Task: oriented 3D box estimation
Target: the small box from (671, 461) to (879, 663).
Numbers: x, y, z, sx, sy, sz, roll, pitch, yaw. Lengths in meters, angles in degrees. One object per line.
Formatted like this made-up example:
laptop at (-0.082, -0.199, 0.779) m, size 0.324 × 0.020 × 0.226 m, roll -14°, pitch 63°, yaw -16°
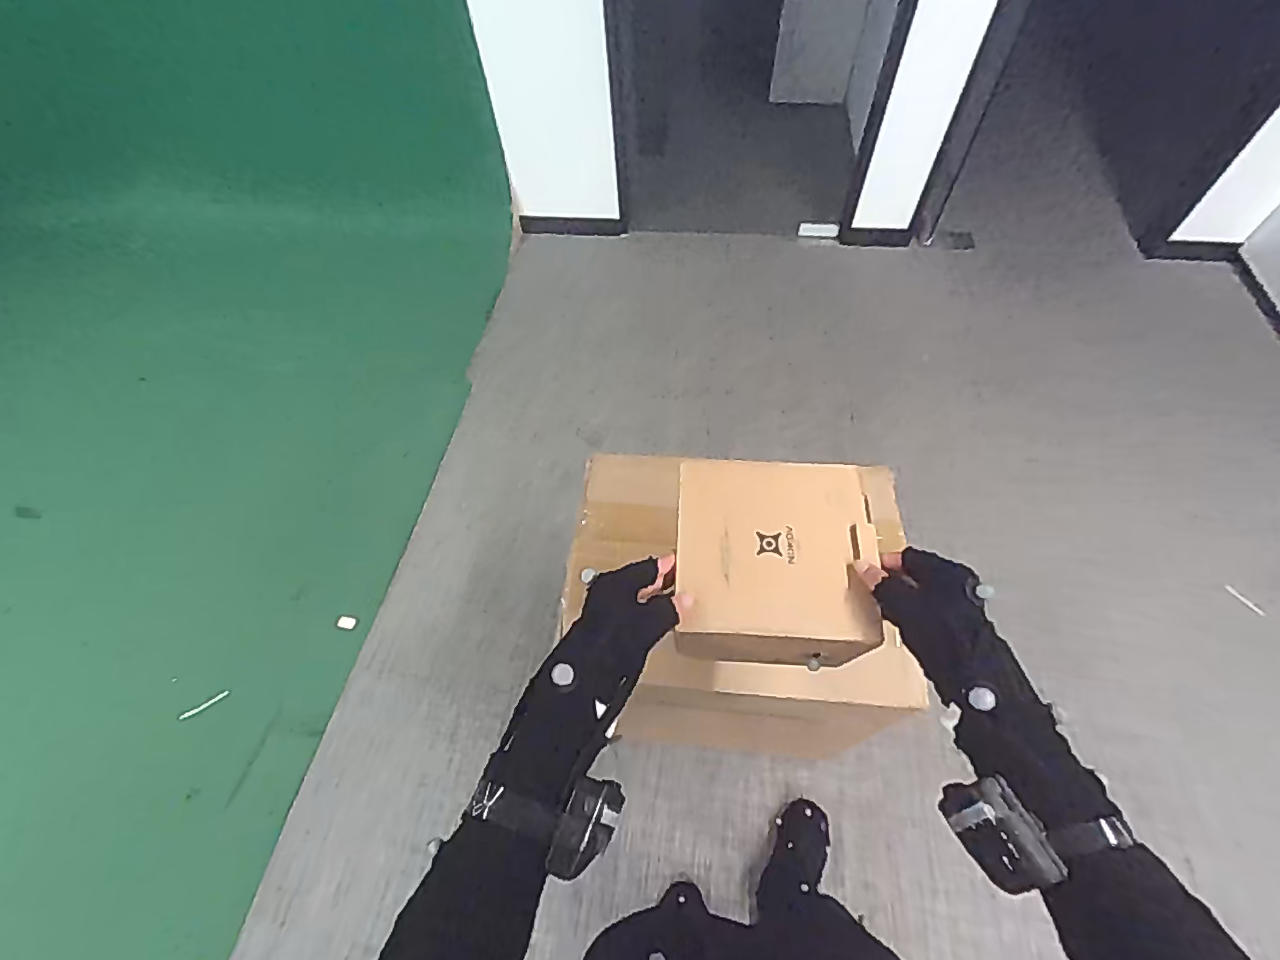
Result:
small box at (0.125, 0.091, 0.560) m, size 0.179 × 0.176 × 0.168 m, roll -1°, pitch 63°, yaw 7°
